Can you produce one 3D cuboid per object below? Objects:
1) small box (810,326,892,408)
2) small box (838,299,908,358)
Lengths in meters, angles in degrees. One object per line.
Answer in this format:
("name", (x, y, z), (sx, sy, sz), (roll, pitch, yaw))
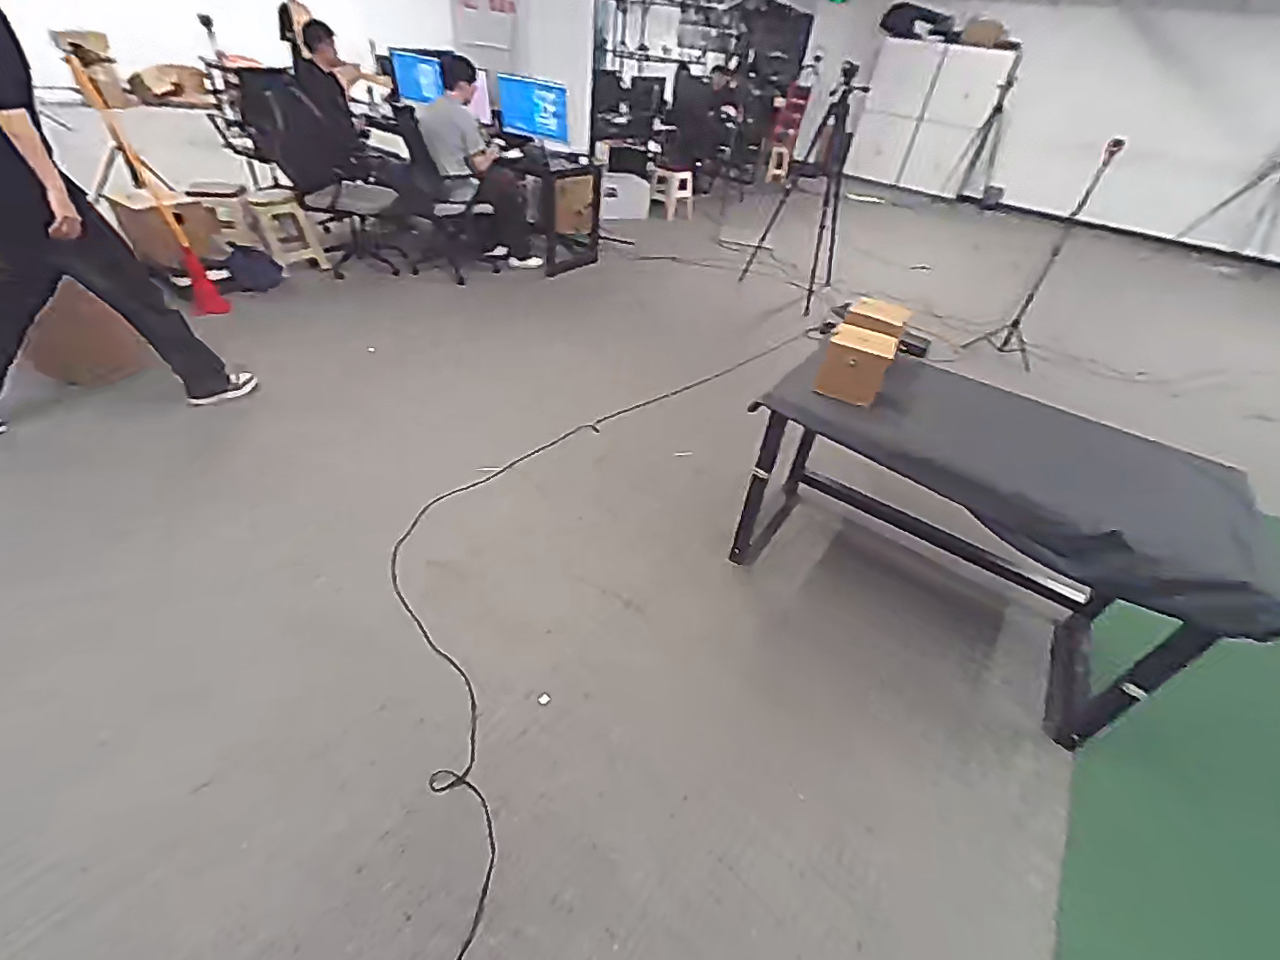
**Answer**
("small box", (0.630, -0.338, 1.624), (0.179, 0.176, 0.168), (23, 42, 15))
("small box", (0.763, -0.482, 1.820), (0.179, 0.176, 0.168), (28, 44, 23))
